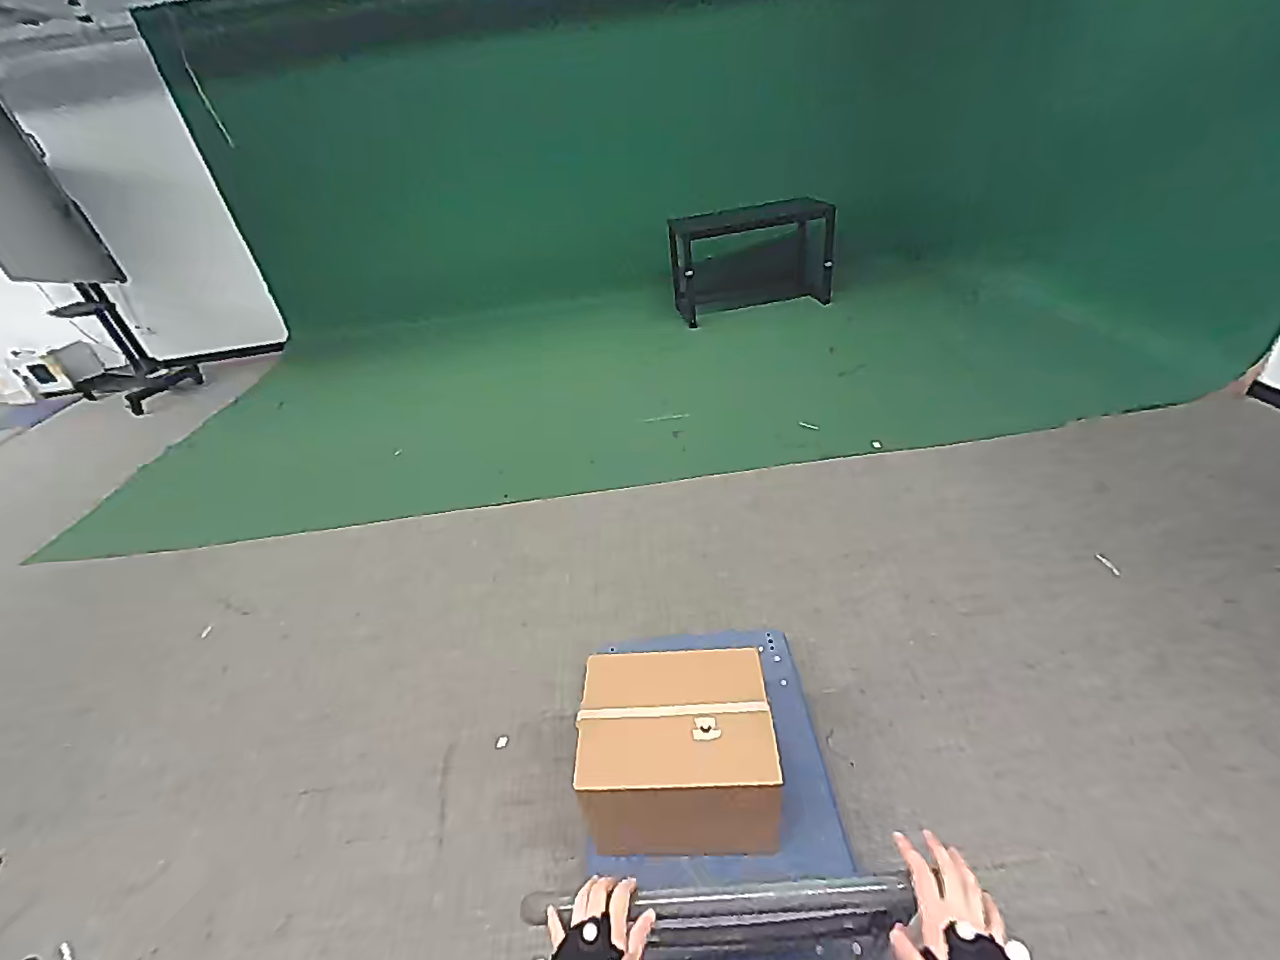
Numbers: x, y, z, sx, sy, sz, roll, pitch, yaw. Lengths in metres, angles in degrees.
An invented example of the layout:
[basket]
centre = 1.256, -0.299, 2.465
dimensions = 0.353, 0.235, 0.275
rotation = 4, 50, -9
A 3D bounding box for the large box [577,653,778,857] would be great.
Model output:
[large box]
centre = 0.084, 0.633, 1.254
dimensions = 0.408, 0.320, 0.320
rotation = -4, 35, 4
